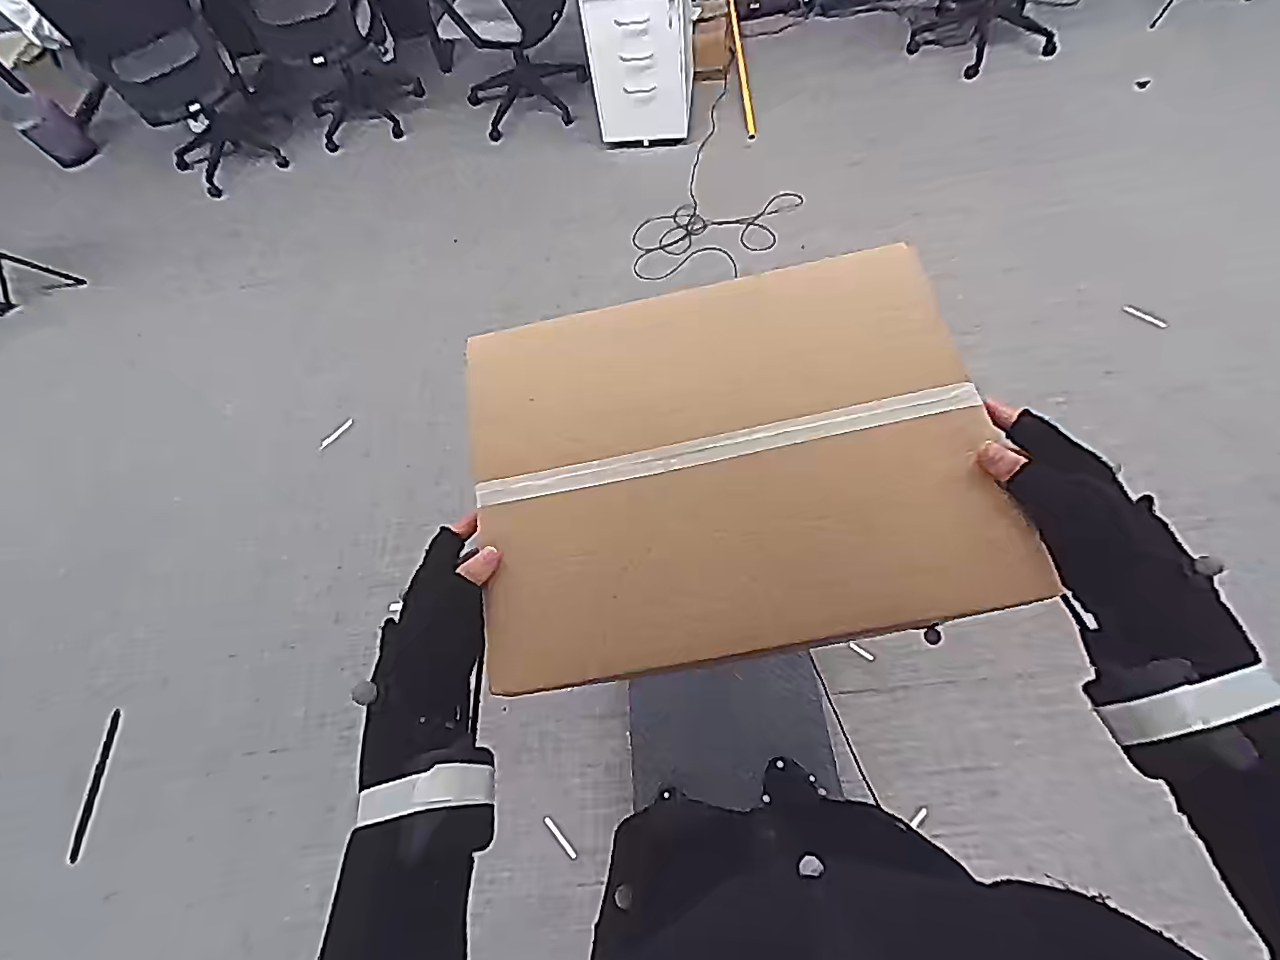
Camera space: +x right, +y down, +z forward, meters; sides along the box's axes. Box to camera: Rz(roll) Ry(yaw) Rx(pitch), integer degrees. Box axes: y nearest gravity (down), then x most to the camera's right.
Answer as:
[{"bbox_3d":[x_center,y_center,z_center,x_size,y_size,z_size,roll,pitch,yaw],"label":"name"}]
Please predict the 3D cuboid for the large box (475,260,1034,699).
[{"bbox_3d":[0.083,0.029,0.583,0.408,0.320,0.320,-11,69,3],"label":"large box"}]
